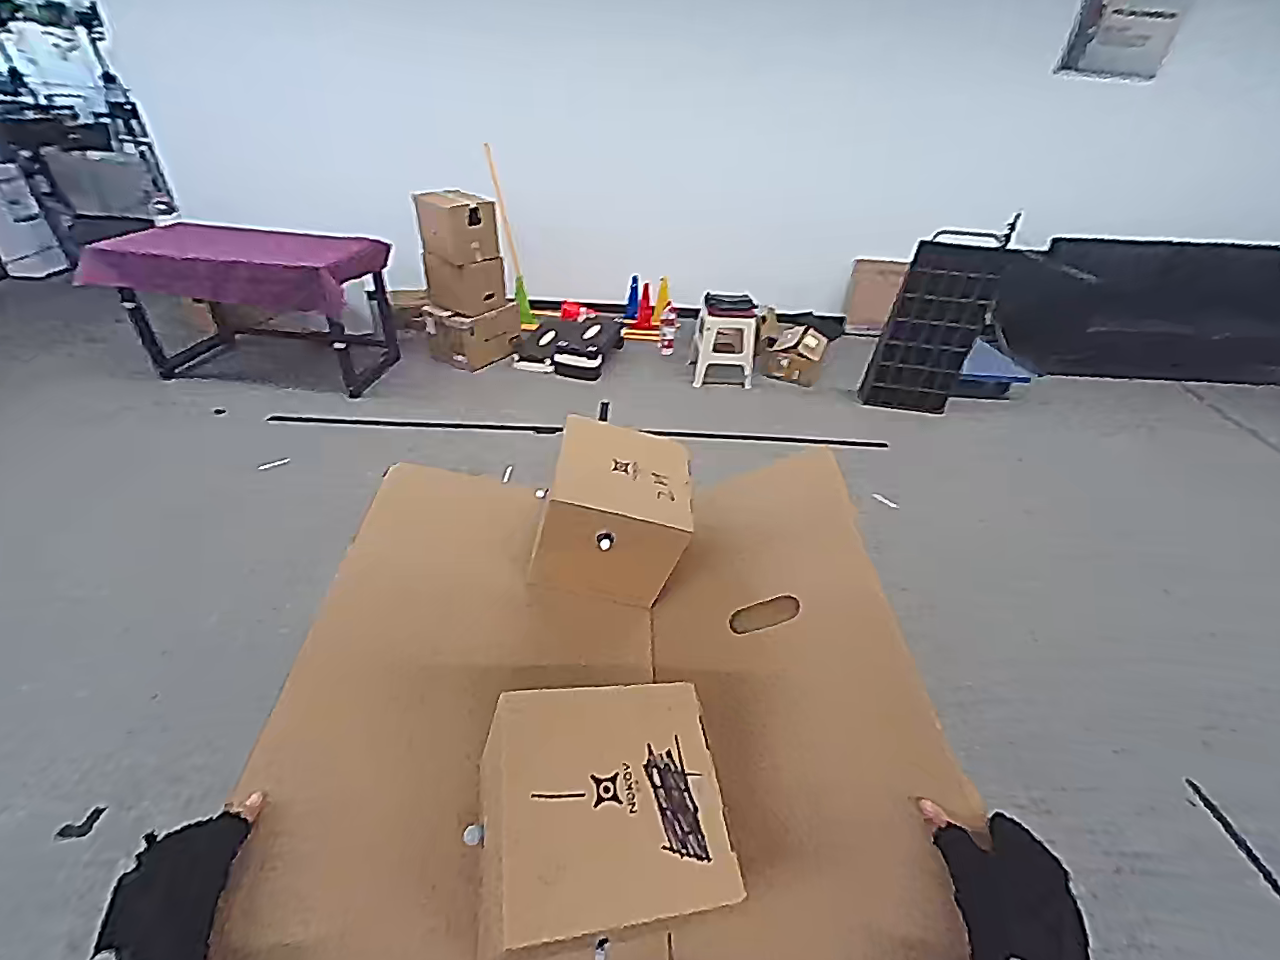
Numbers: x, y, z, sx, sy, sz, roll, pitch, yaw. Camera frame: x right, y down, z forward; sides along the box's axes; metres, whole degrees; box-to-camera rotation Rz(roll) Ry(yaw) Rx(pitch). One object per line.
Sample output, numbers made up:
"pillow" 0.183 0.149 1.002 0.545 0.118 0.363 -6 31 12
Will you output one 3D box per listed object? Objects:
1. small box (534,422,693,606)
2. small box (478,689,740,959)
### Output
"small box" -0.038 0.052 0.743 0.179 0.176 0.168 15 42 -10
"small box" -0.041 0.301 0.480 0.179 0.176 0.168 6 44 -19
